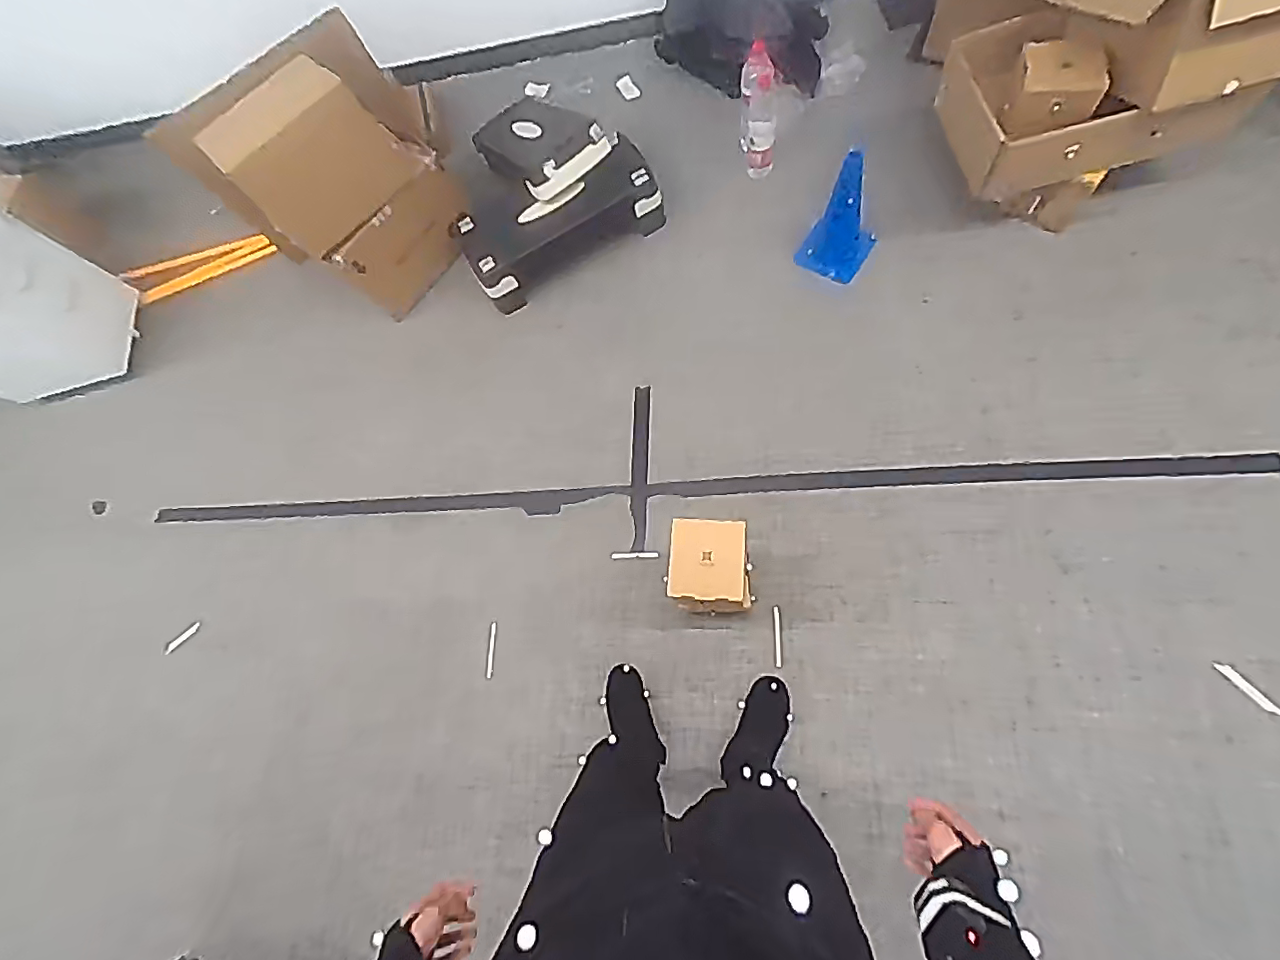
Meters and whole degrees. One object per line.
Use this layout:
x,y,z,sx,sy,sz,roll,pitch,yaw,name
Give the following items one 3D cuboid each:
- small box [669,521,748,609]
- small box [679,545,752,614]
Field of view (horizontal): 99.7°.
0.163,0.201,1.263,0.168,0.176,0.179,2,74,12,small box
0.198,0.261,1.411,0.179,0.176,0.168,-3,72,11,small box
